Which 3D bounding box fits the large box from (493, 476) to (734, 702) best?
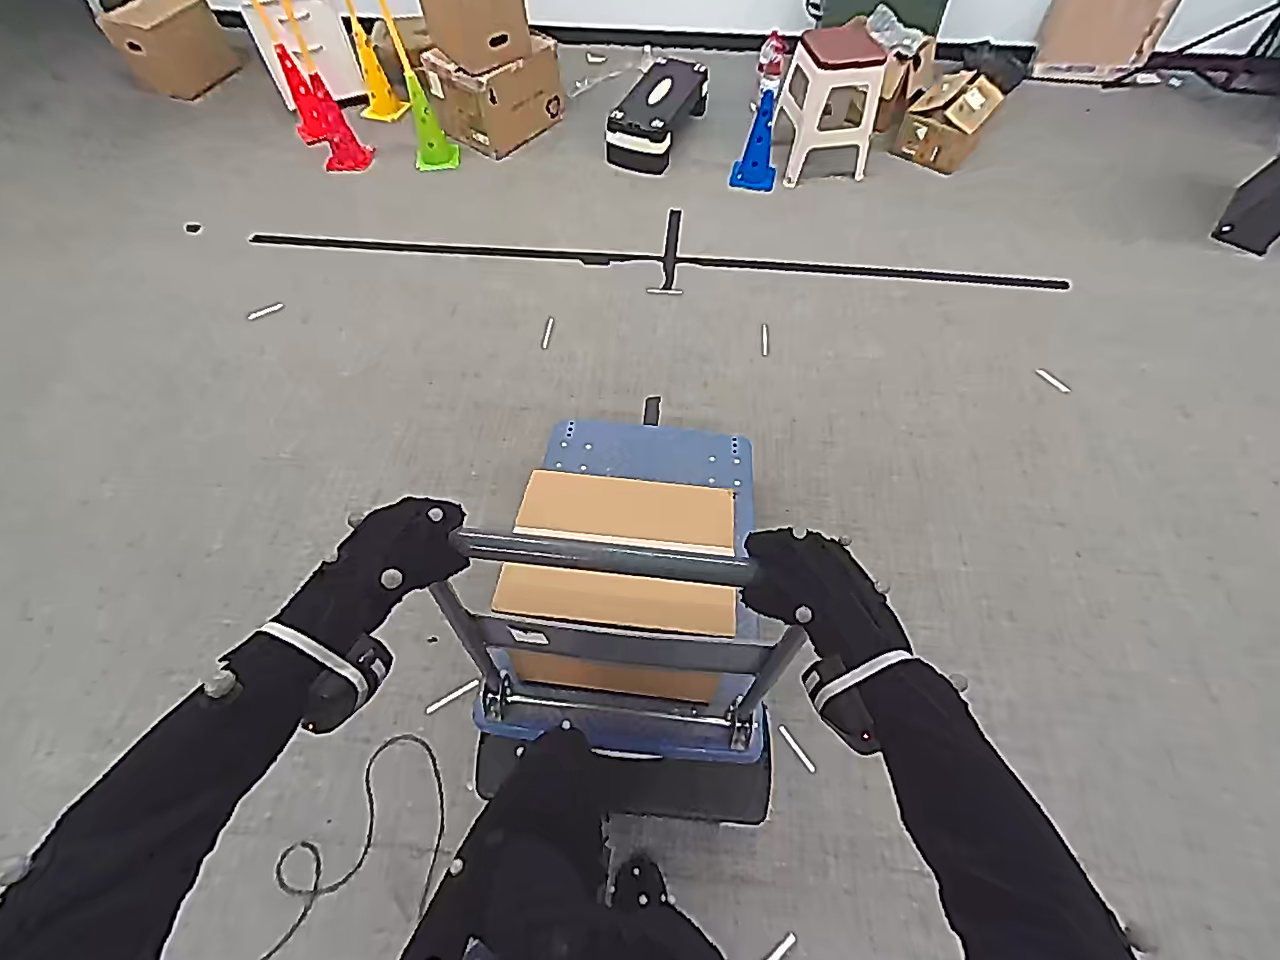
[{"bbox_3d":[-0.041,0.221,1.083,0.408,0.320,0.320,7,50,2],"label":"large box"}]
